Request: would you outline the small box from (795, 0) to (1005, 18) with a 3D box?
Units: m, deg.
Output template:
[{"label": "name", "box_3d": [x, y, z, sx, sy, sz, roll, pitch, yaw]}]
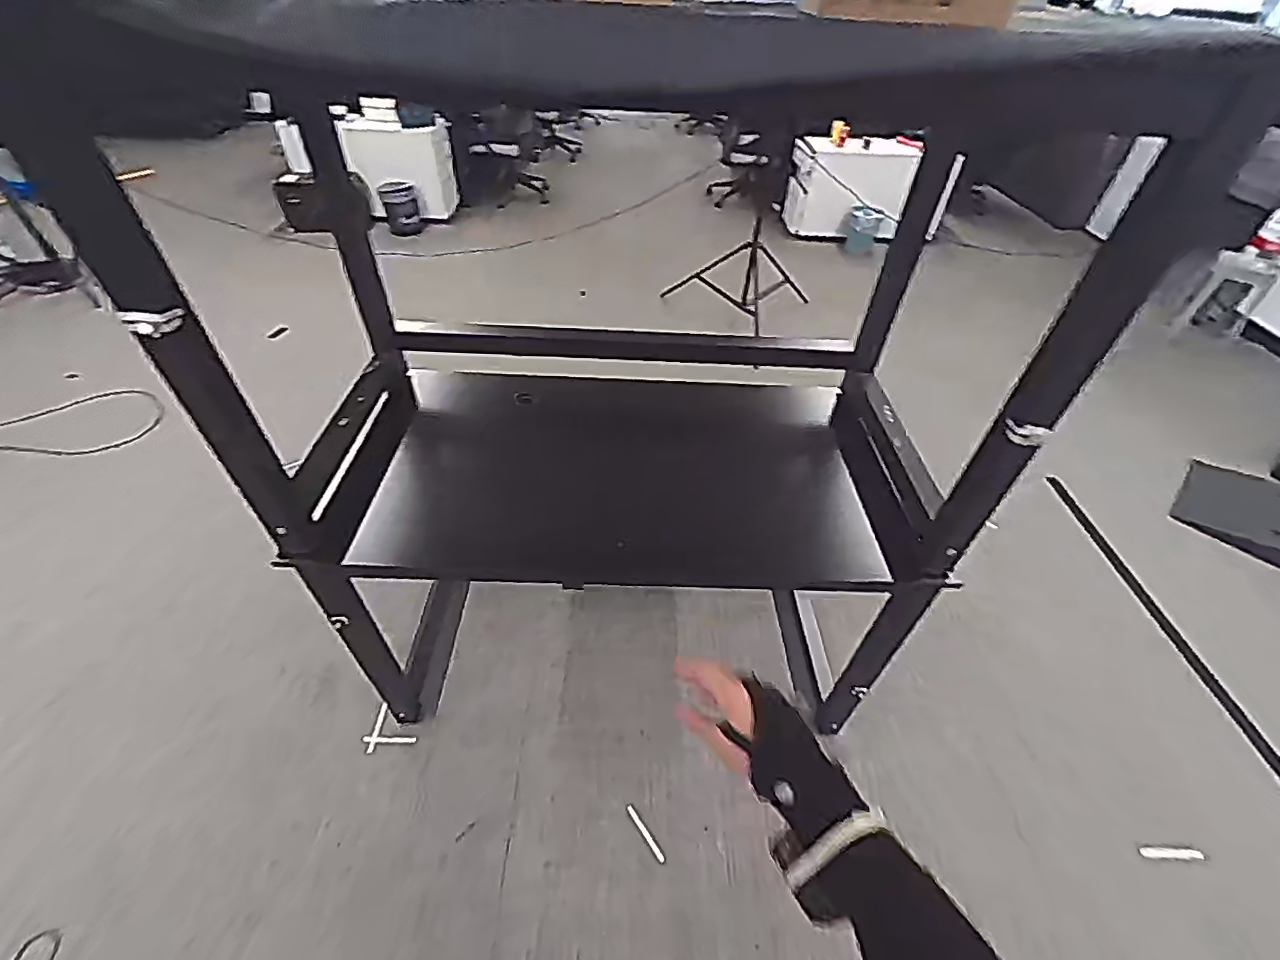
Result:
[{"label": "small box", "box_3d": [0.245, -0.523, 0.479, 0.168, 0.176, 0.179, 5, 42, 2]}]
